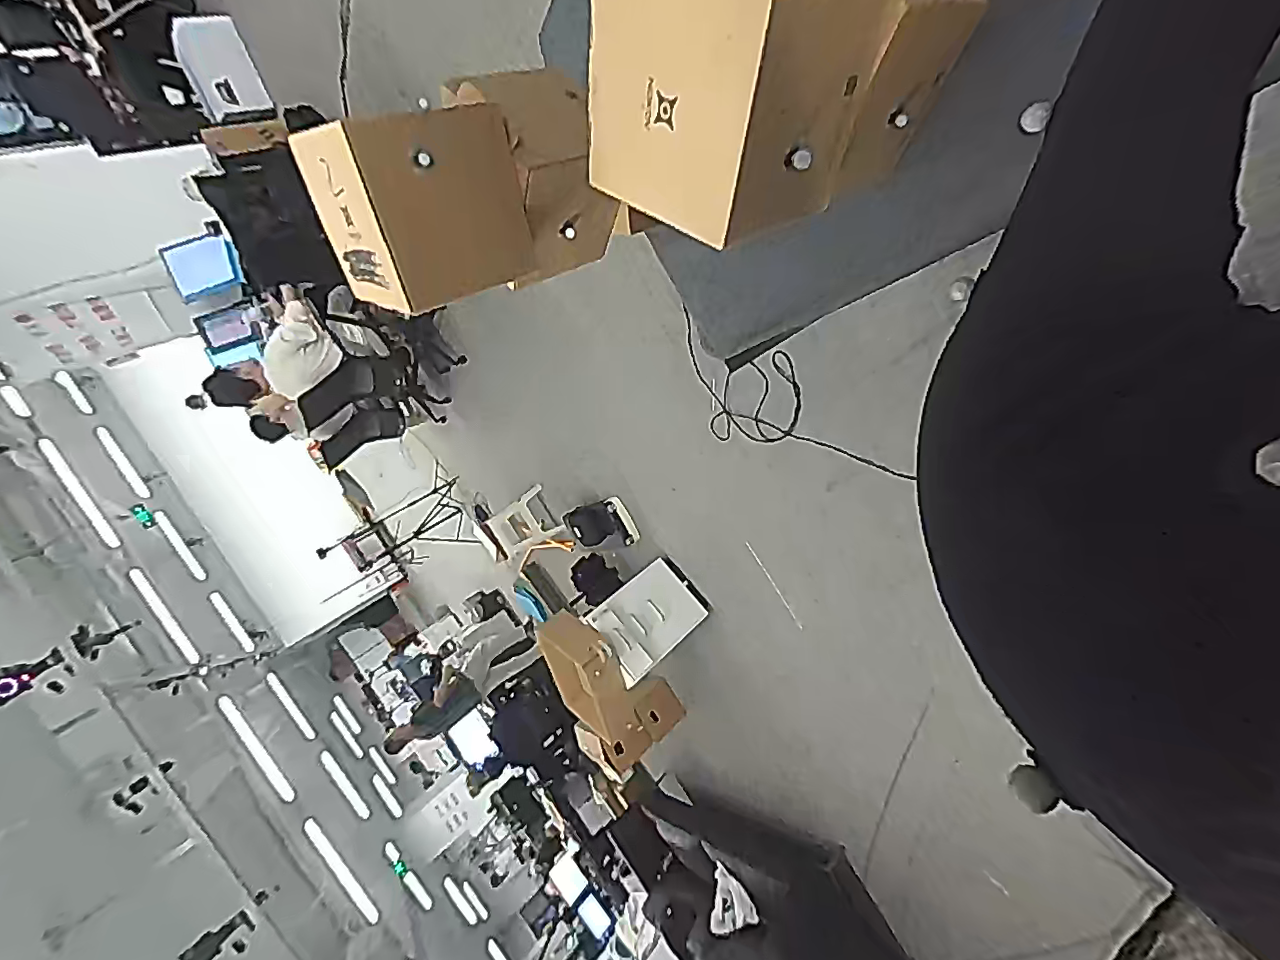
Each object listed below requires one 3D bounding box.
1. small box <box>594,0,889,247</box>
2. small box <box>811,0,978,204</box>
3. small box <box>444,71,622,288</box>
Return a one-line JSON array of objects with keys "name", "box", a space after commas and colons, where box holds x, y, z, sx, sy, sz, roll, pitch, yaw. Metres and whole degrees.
[{"name": "small box", "box": [0.079, -0.335, 0.471, 0.179, 0.176, 0.168, 40, 146, 26]}, {"name": "small box", "box": [0.194, -0.419, 0.549, 0.179, 0.176, 0.168, 46, 147, 17]}, {"name": "small box", "box": [-0.134, -0.394, 0.707, 0.168, 0.176, 0.179, 48, 149, 11]}]
